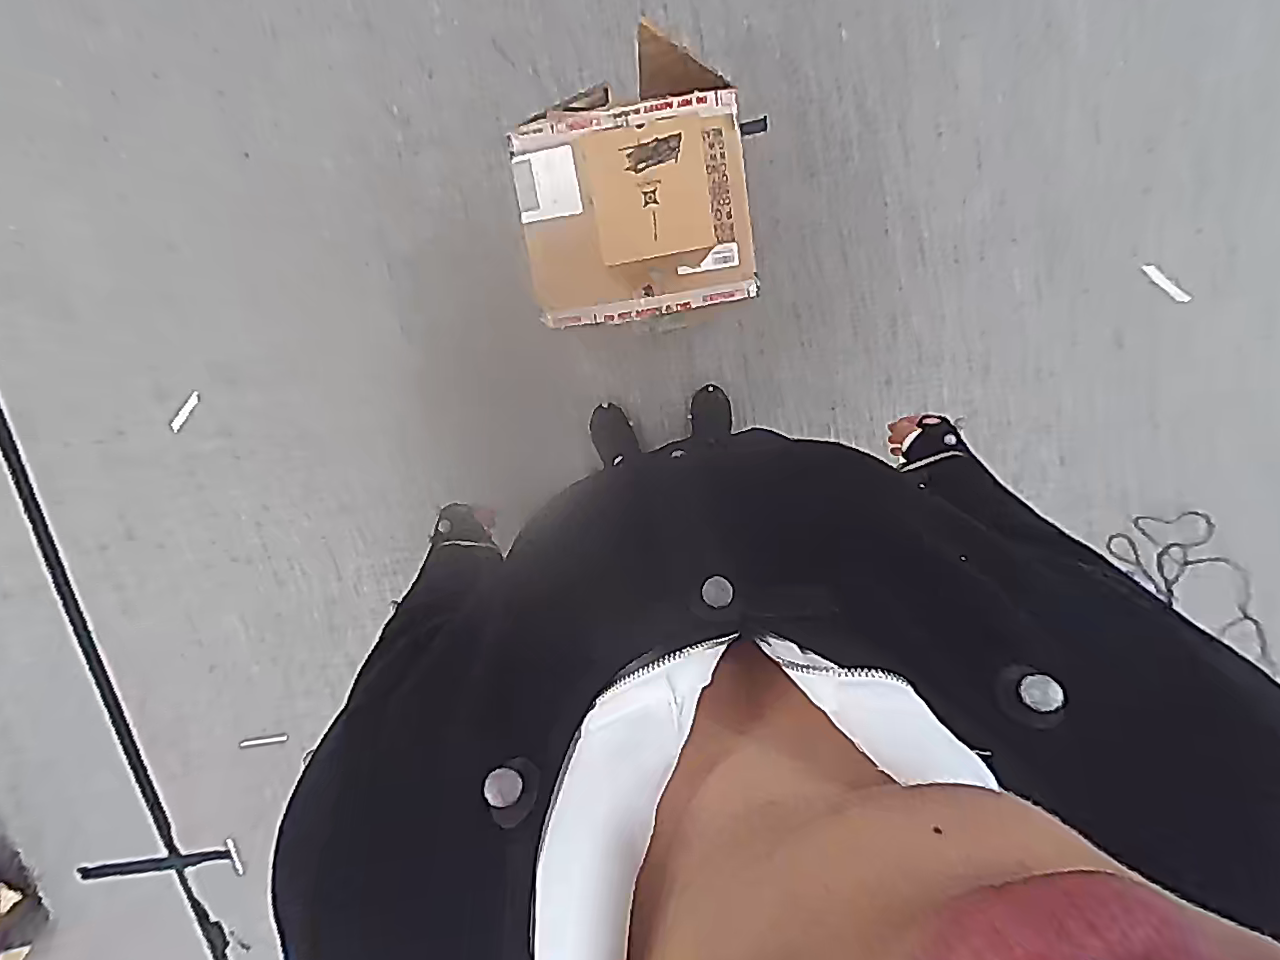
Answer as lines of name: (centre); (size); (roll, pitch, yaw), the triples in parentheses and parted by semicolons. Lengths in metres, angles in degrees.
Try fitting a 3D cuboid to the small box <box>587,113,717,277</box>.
small box: (0.017, -0.427, 0.839); (0.168, 0.176, 0.179); (-9, 104, 2)
